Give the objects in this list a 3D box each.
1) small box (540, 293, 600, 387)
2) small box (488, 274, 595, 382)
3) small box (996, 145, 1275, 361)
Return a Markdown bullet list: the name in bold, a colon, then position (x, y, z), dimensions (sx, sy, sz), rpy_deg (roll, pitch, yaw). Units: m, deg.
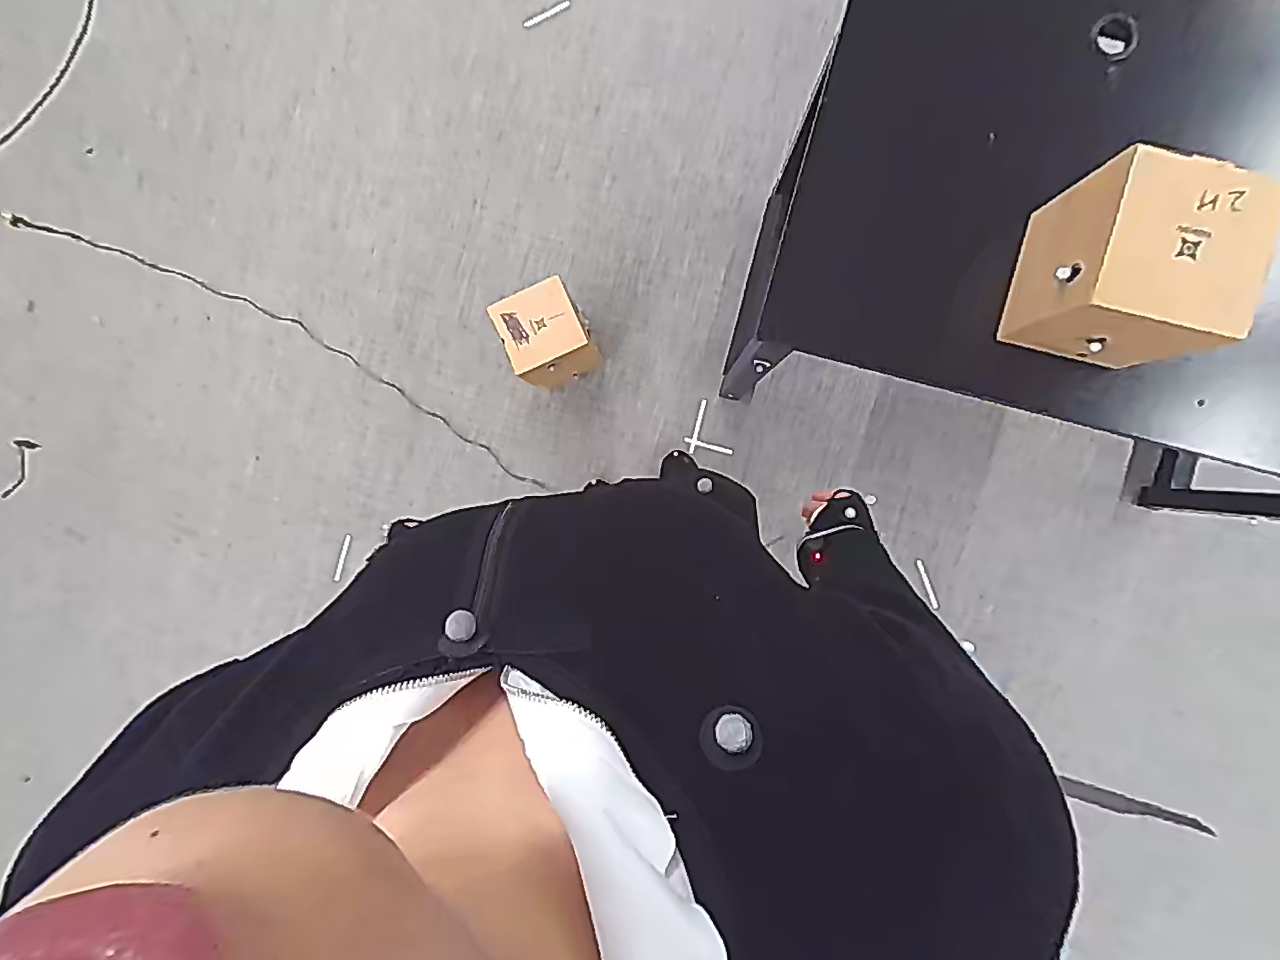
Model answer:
- **small box**: position (-0.215, -0.361, 1.424), dimensions (0.179, 0.176, 0.168), rpy_deg (-26, 90, 2)
- **small box**: position (-0.220, -0.343, 1.258), dimensions (0.179, 0.176, 0.168), rpy_deg (-24, 91, 3)
- **small box**: position (0.577, -0.258, 0.659), dimensions (0.168, 0.176, 0.179), rpy_deg (15, 92, 2)
